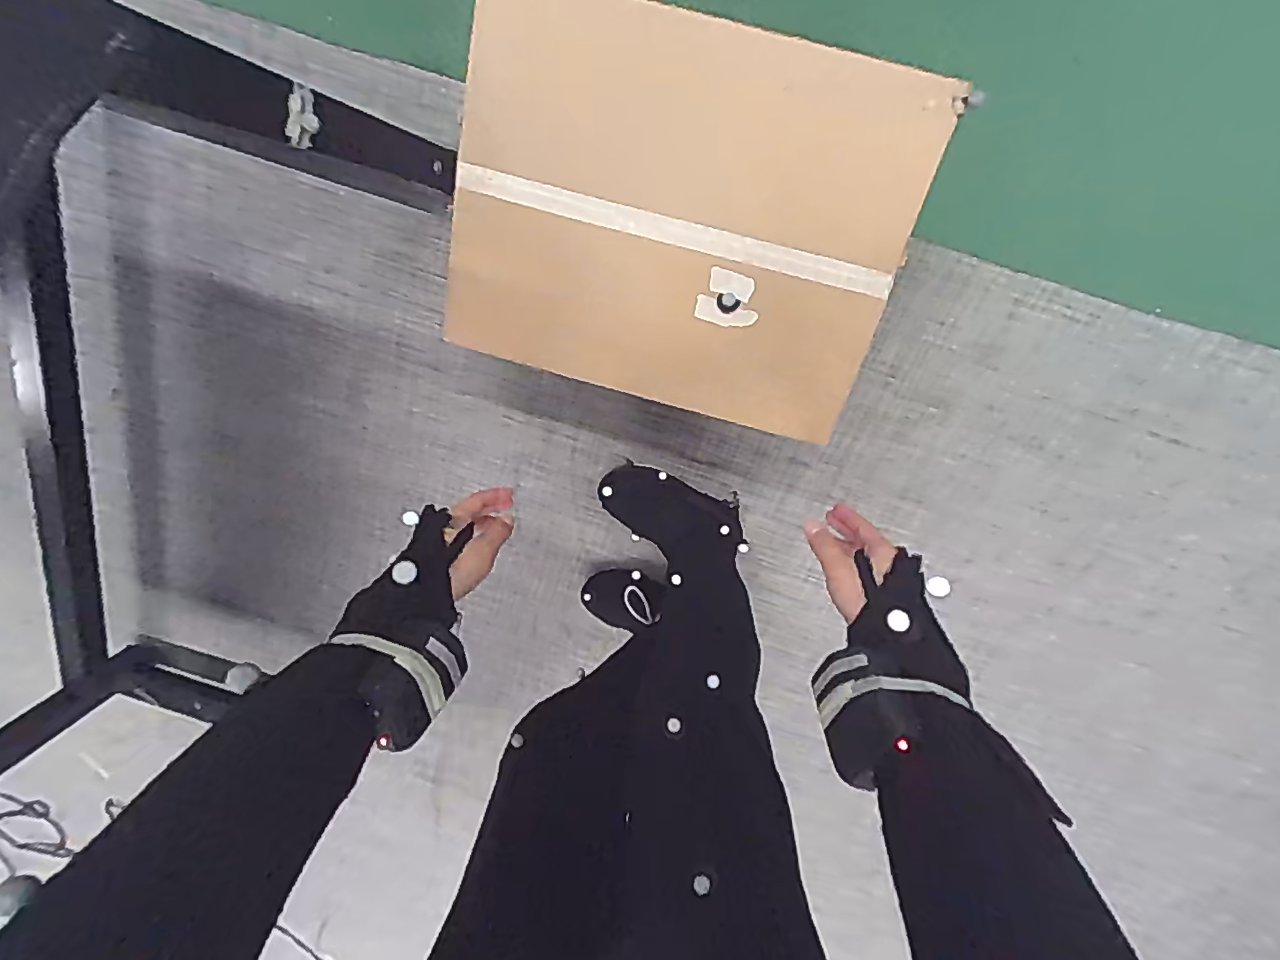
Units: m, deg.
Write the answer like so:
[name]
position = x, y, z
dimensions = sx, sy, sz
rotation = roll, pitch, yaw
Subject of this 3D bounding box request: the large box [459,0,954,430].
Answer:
[large box]
position = 0.050, -0.284, 0.639
dimensions = 0.408, 0.320, 0.320
rotation = 15, 112, 1
